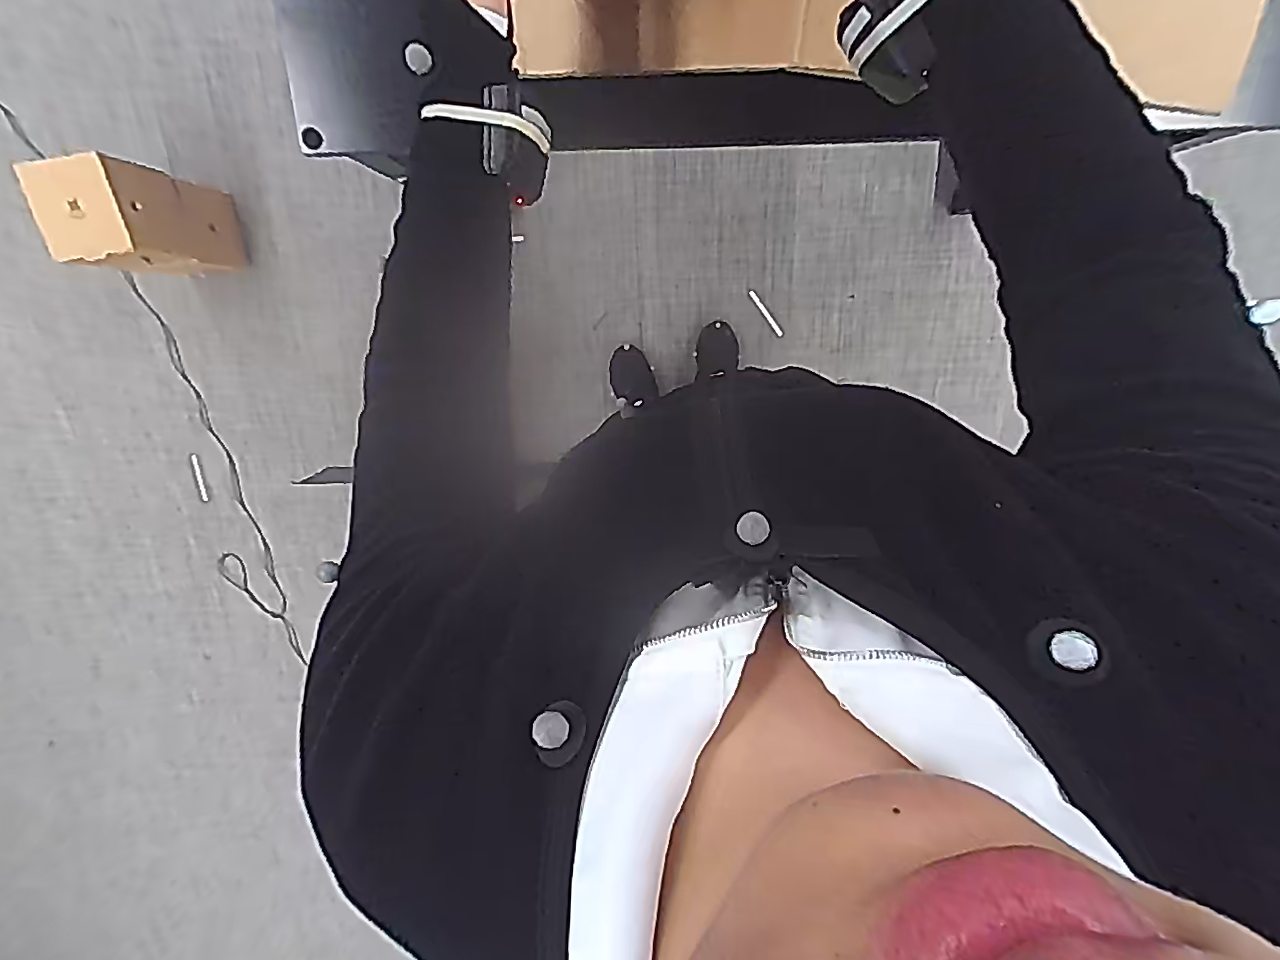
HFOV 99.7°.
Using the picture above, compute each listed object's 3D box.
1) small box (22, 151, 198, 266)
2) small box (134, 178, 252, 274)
[{"bbox_3d":[-1.066,-0.543,1.108,0.168,0.176,0.179,-8,106,2],"label":"small box"},{"bbox_3d":[-1.062,-0.585,1.264,0.168,0.176,0.179,-5,108,2],"label":"small box"}]
